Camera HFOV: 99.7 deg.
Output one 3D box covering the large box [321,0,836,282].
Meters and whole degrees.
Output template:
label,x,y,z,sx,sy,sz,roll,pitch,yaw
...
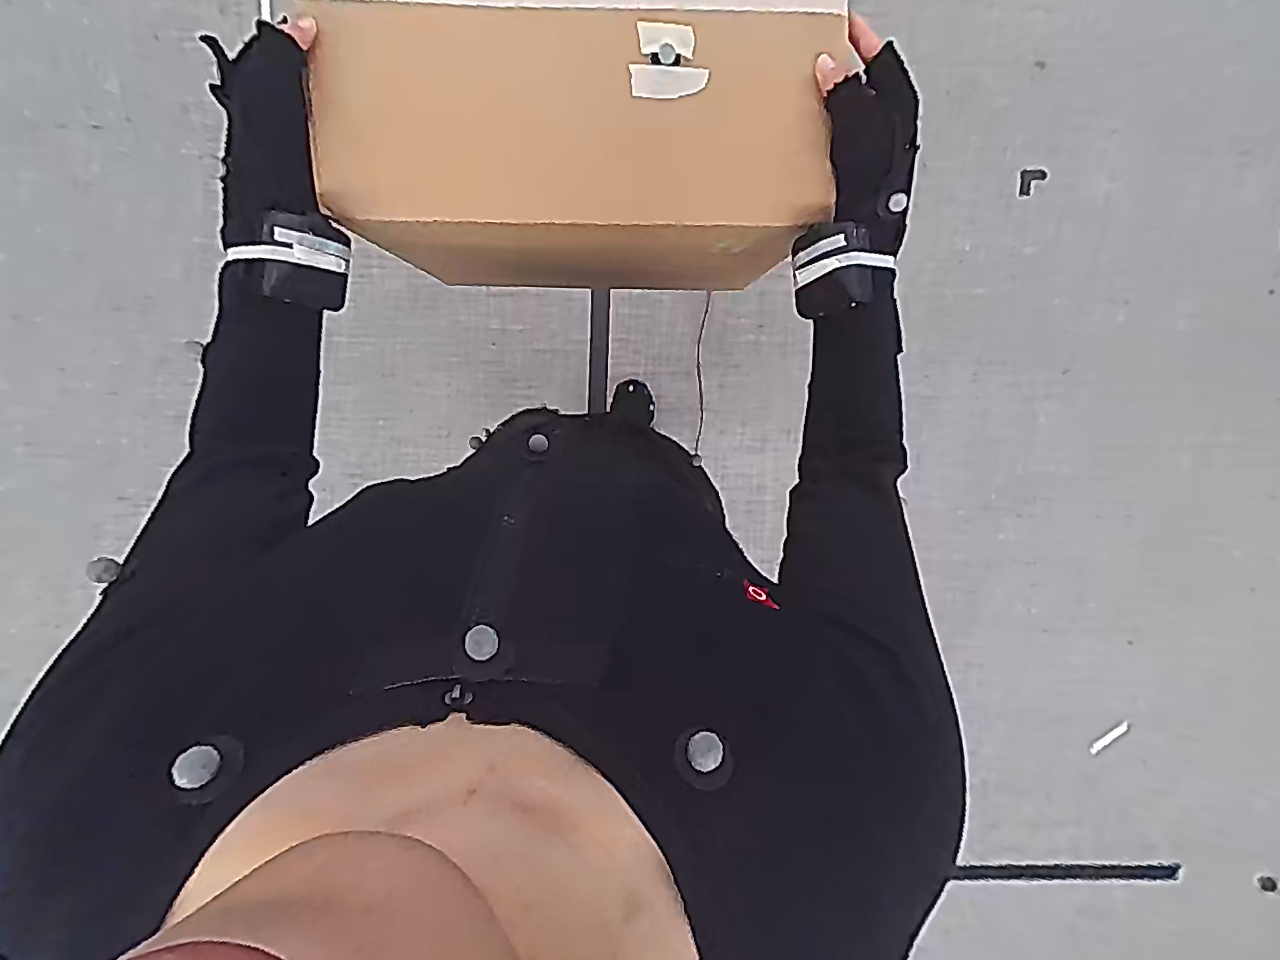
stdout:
label,x,y,z,sx,sy,sz,roll,pitch,yaw
large box,-0.052,-0.397,0.562,0.408,0.320,0.320,-1,102,-3
